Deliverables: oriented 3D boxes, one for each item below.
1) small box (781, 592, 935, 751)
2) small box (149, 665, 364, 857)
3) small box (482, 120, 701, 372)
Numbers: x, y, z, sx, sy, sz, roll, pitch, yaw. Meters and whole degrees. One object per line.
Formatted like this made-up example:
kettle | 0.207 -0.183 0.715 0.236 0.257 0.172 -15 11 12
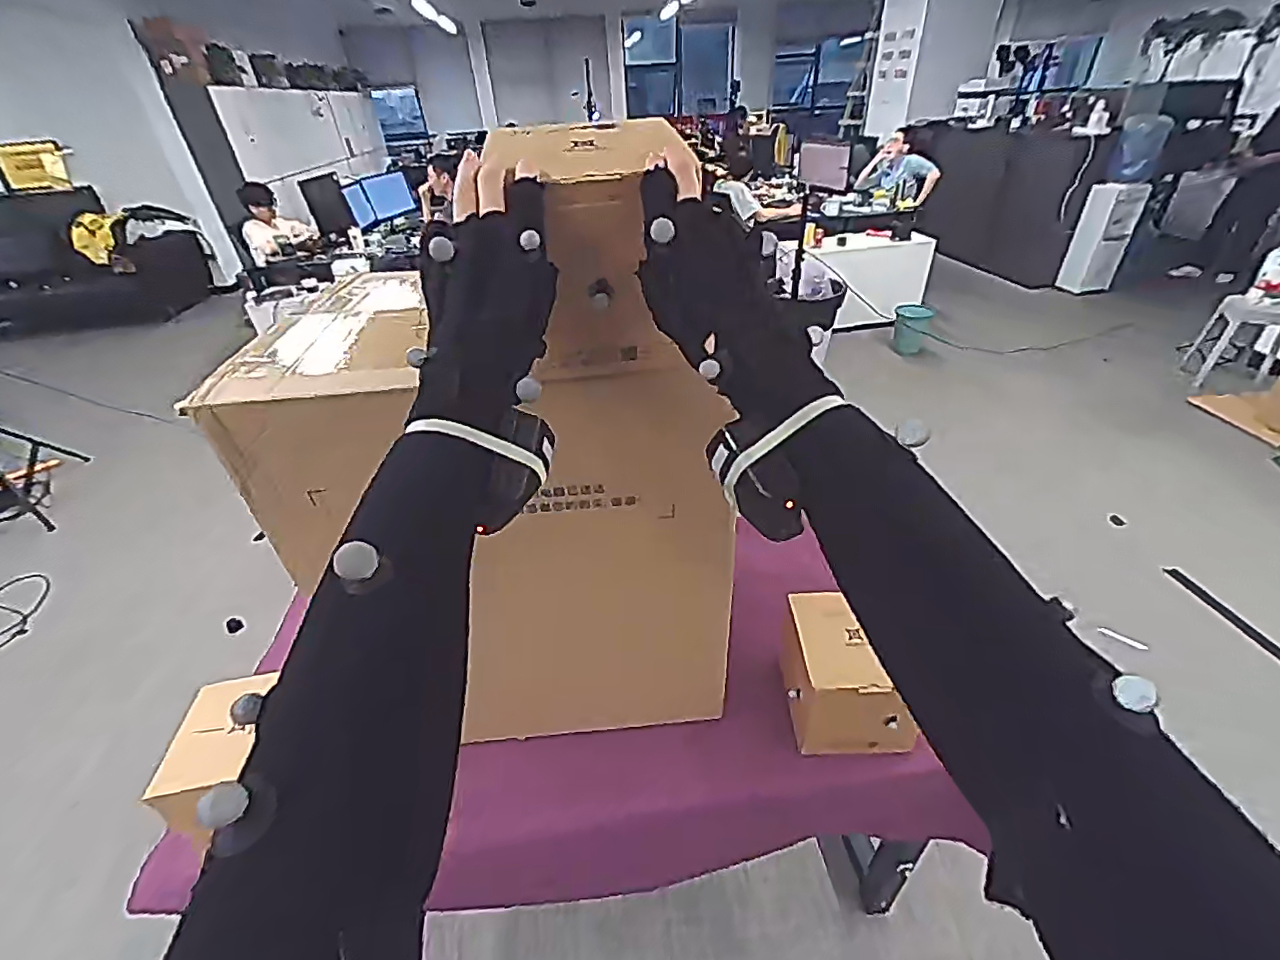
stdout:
small box | 0.321 0.297 0.838 0.168 0.176 0.179 -2 34 2
small box | -0.520 0.397 0.771 0.179 0.176 0.168 -8 34 -8
small box | -0.041 -0.214 0.505 0.168 0.176 0.179 -7 44 -5
